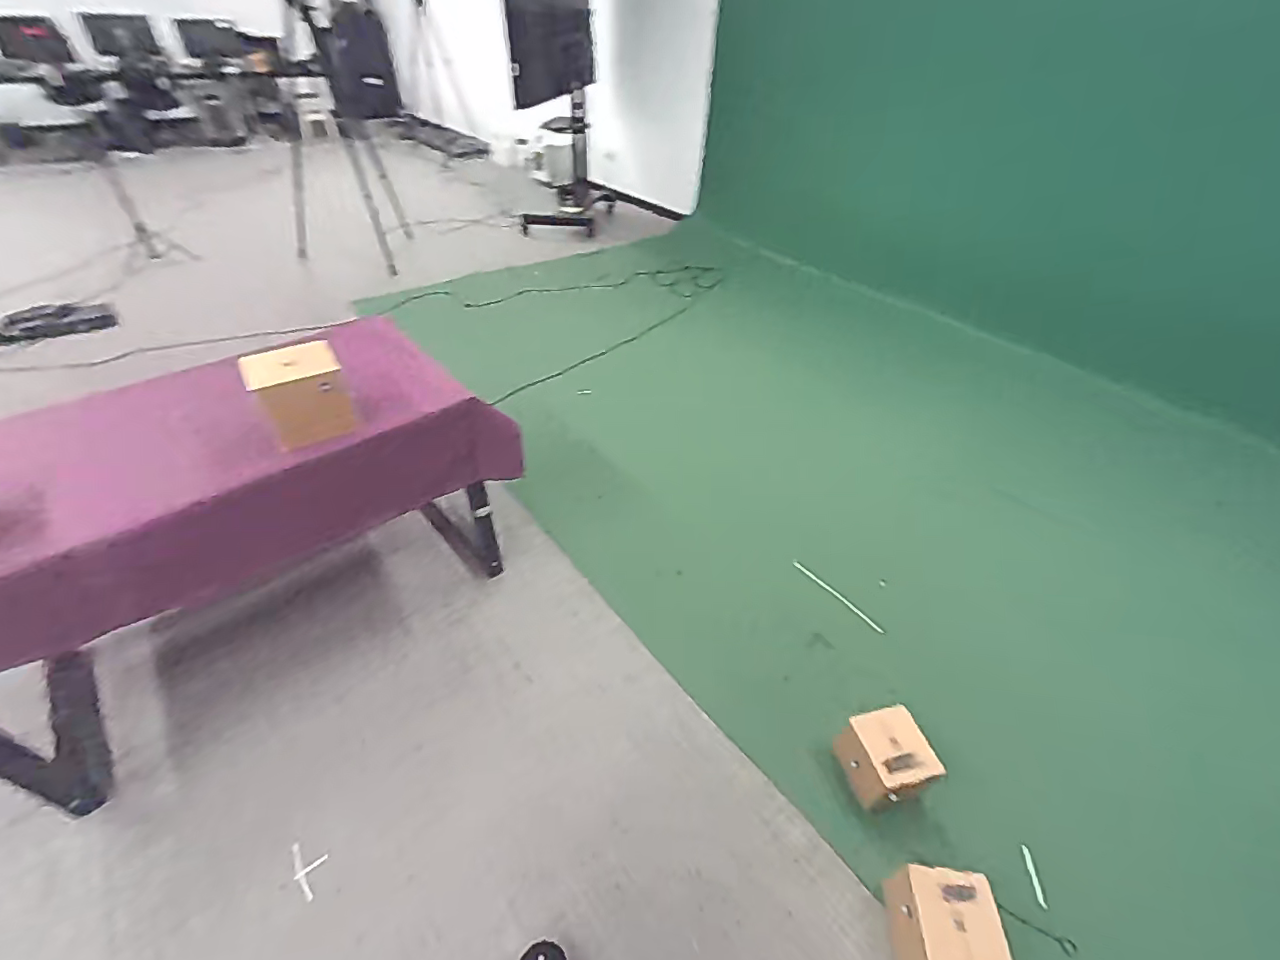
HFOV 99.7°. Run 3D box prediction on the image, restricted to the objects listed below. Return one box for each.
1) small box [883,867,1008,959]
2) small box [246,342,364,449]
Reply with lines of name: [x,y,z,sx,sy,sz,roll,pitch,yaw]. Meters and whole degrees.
small box: [0.632,0.951,1.134,0.168,0.176,0.179,7,42,3]
small box: [-0.775,-0.195,1.259,0.179,0.176,0.168,-23,47,-27]
